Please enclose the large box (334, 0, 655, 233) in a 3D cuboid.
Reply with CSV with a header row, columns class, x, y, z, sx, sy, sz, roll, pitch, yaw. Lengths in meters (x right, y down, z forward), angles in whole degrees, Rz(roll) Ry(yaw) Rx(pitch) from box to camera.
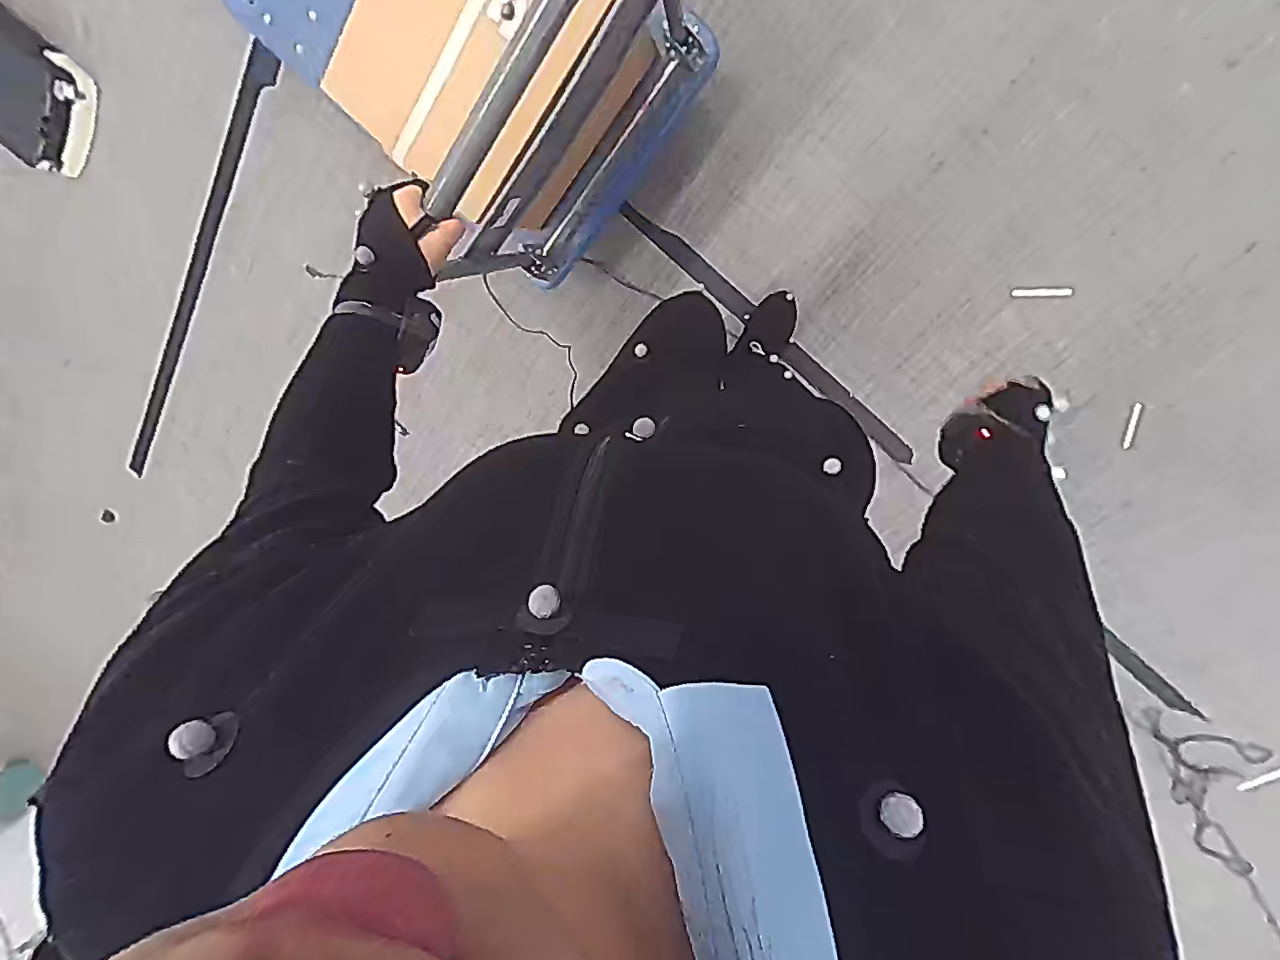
class,x,y,z,sx,sy,sz,roll,pitch,yaw
large box,-0.230,-0.707,0.940,0.320,0.320,0.408,40,113,-8
